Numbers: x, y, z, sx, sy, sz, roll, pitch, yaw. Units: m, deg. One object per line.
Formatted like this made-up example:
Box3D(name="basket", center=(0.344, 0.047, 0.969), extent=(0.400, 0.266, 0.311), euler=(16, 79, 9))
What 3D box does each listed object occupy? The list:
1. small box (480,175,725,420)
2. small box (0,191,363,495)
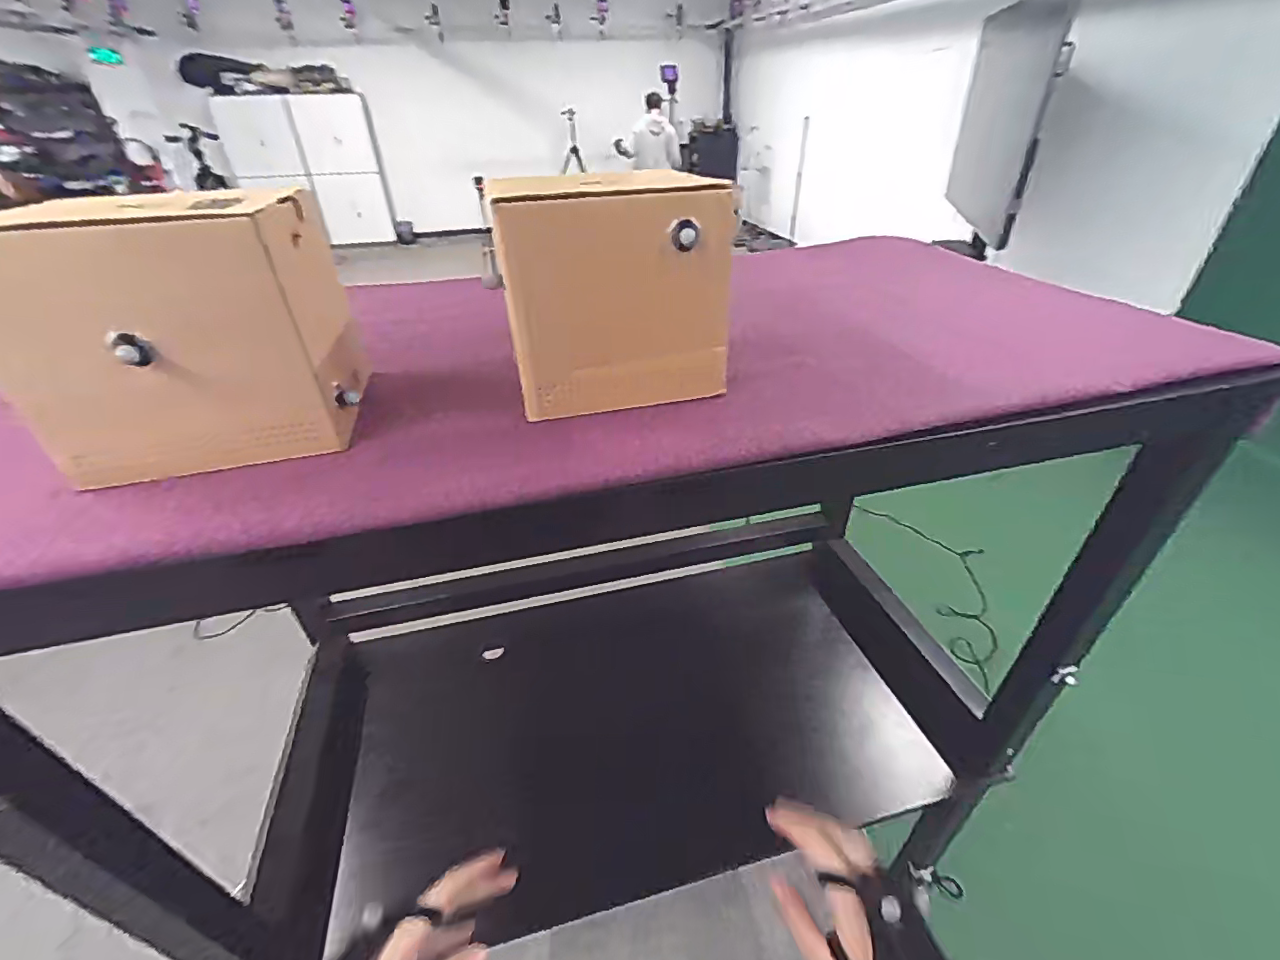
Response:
Box3D(name="small box", center=(-0.036, -0.165, 0.481), extent=(0.179, 0.176, 0.168), euler=(-10, 35, -11))
Box3D(name="small box", center=(-0.333, -0.111, 0.412), extent=(0.179, 0.176, 0.168), euler=(-12, 35, -12))
